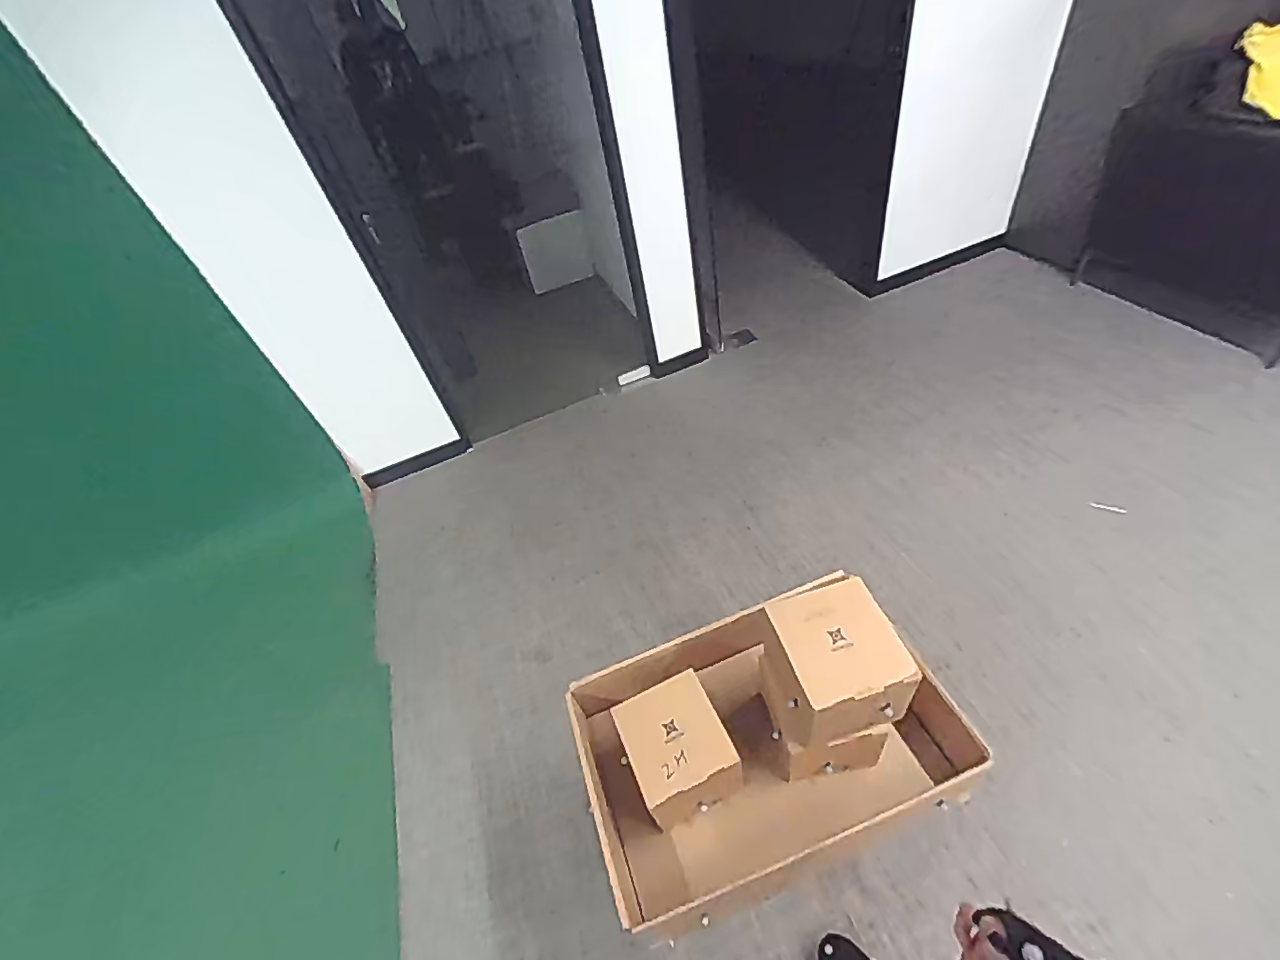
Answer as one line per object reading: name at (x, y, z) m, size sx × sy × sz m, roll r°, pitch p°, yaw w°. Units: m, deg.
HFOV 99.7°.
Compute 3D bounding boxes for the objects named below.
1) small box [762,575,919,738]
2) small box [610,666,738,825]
small box at (0.304, 0.286, 0.856) m, size 0.168 × 0.176 × 0.179 m, roll -16°, pitch 45°, yaw -3°
small box at (0.062, 0.471, 0.960) m, size 0.168 × 0.176 × 0.179 m, roll -23°, pitch 46°, yaw -8°
